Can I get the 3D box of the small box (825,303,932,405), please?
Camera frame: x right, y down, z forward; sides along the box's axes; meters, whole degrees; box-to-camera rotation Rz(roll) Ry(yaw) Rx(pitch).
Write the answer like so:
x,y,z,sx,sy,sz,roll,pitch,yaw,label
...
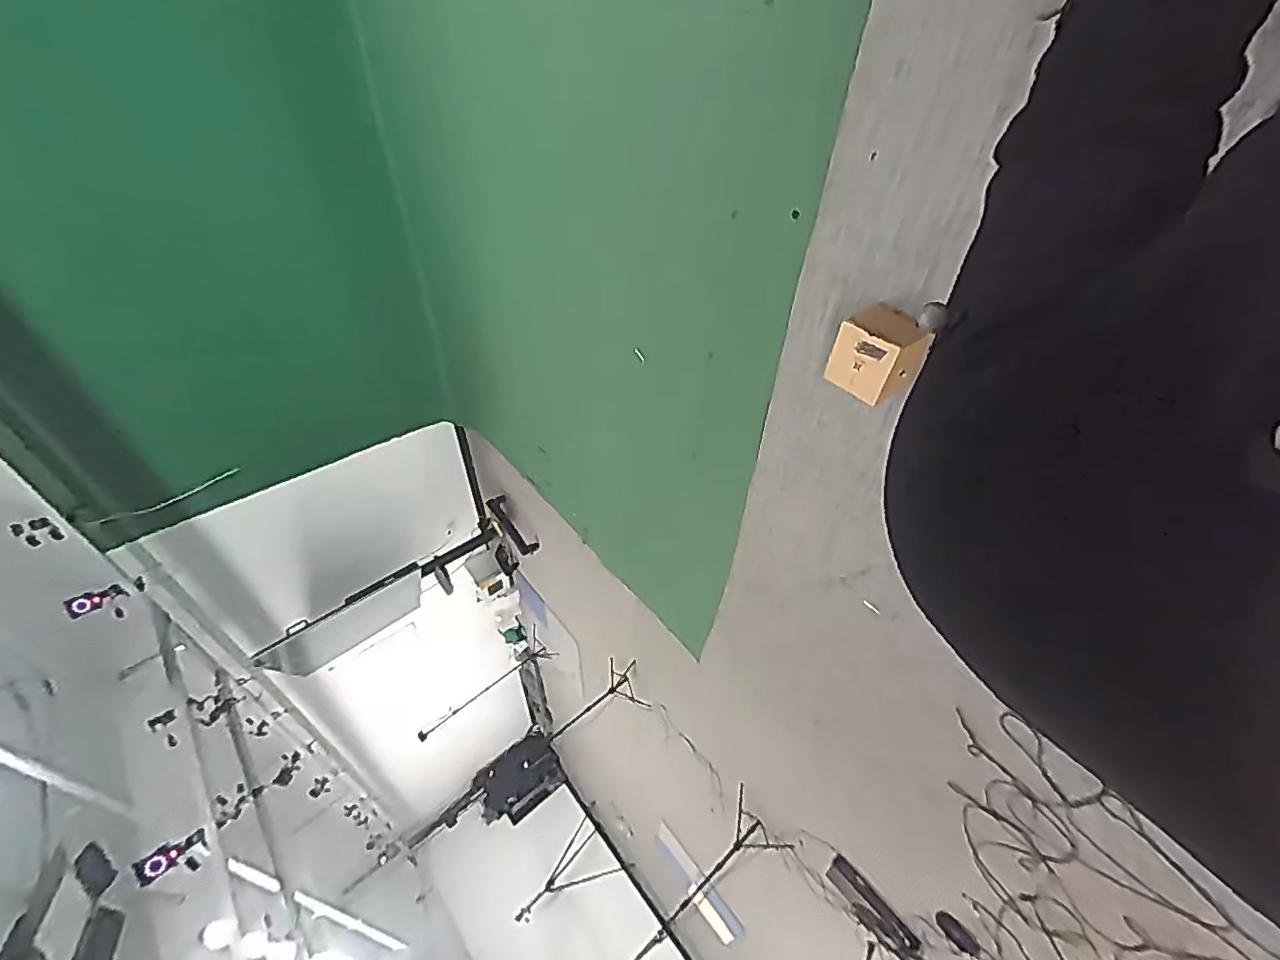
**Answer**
x,y,z,sx,sy,sz,roll,pitch,yaw,label
0.620,-0.333,1.402,0.168,0.176,0.179,43,147,30,small box
